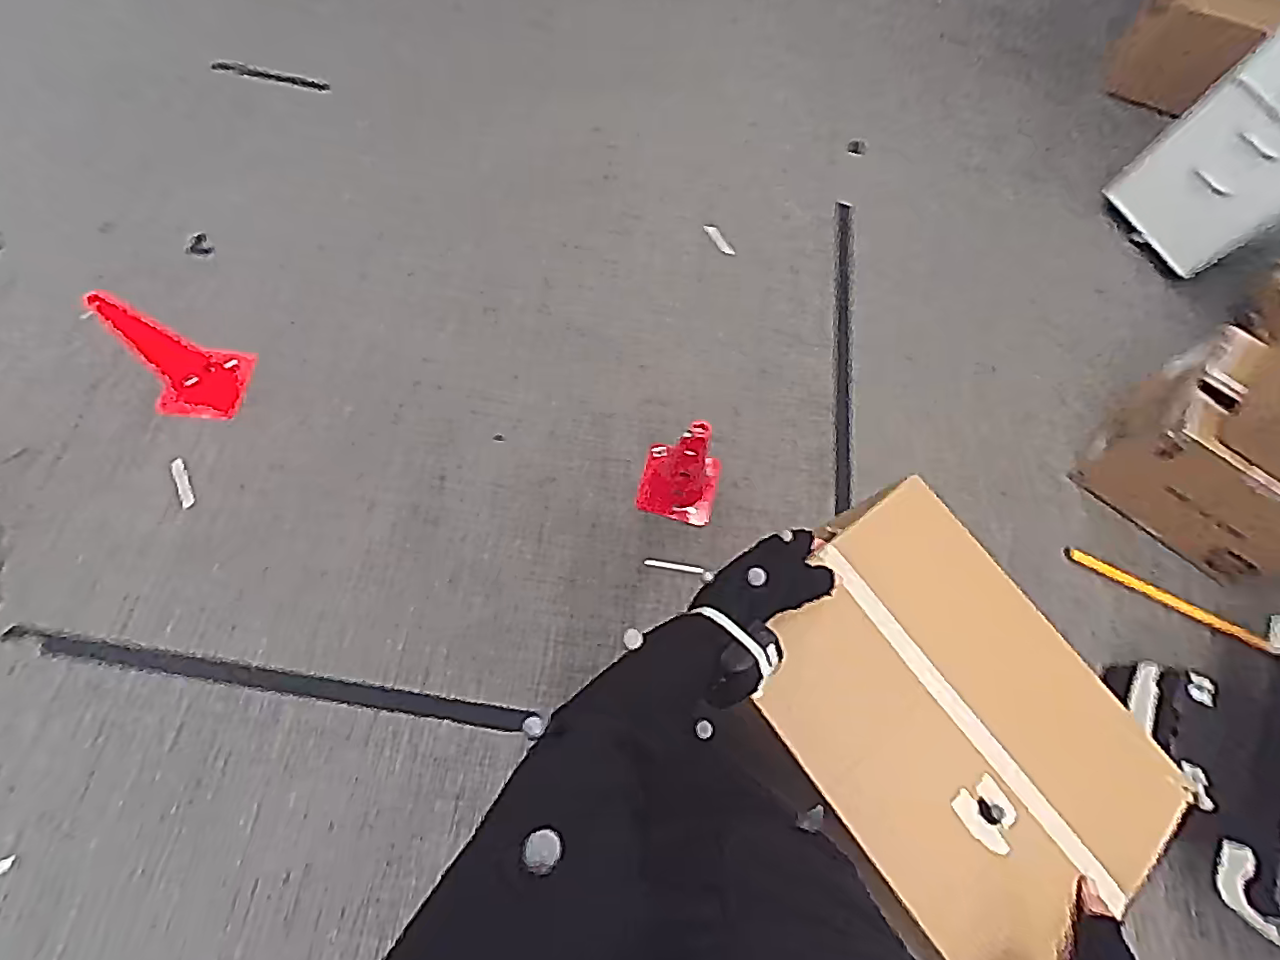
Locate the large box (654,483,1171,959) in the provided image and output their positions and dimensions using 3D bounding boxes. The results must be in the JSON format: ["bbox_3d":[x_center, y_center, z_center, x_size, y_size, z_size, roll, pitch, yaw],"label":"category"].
[{"bbox_3d":[0.278,0.283,0.668,0.320,0.320,0.408,-34,79,-20],"label":"large box"}]

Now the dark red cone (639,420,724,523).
[{"bbox_3d":[0.125,-0.047,1.279,0.202,0.394,0.201,15,71,1],"label":"dark red cone"}]

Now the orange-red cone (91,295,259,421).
[{"bbox_3d":[-1.148,-0.314,1.303,0.199,0.360,0.198,6,69,-1],"label":"orange-red cone"}]
